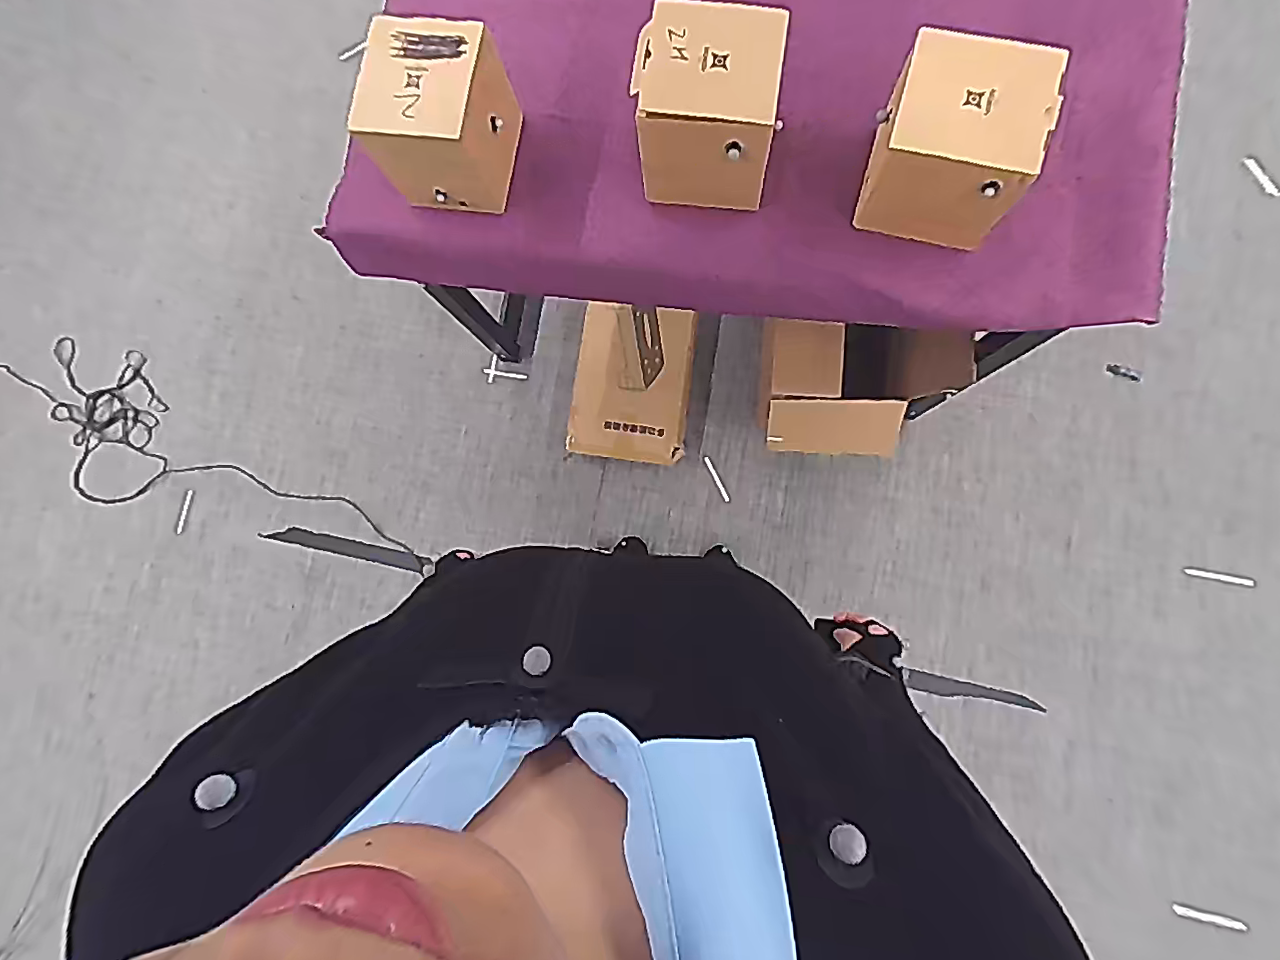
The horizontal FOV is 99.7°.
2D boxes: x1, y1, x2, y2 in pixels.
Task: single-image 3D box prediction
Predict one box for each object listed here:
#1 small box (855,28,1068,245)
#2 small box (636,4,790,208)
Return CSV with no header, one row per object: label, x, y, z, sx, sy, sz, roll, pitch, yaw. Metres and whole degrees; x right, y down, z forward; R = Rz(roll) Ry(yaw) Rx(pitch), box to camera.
small box,0.408,-0.441,0.719,0.179,0.176,0.168,15,85,7
small box,0.099,-0.509,0.757,0.179,0.176,0.168,8,82,7
